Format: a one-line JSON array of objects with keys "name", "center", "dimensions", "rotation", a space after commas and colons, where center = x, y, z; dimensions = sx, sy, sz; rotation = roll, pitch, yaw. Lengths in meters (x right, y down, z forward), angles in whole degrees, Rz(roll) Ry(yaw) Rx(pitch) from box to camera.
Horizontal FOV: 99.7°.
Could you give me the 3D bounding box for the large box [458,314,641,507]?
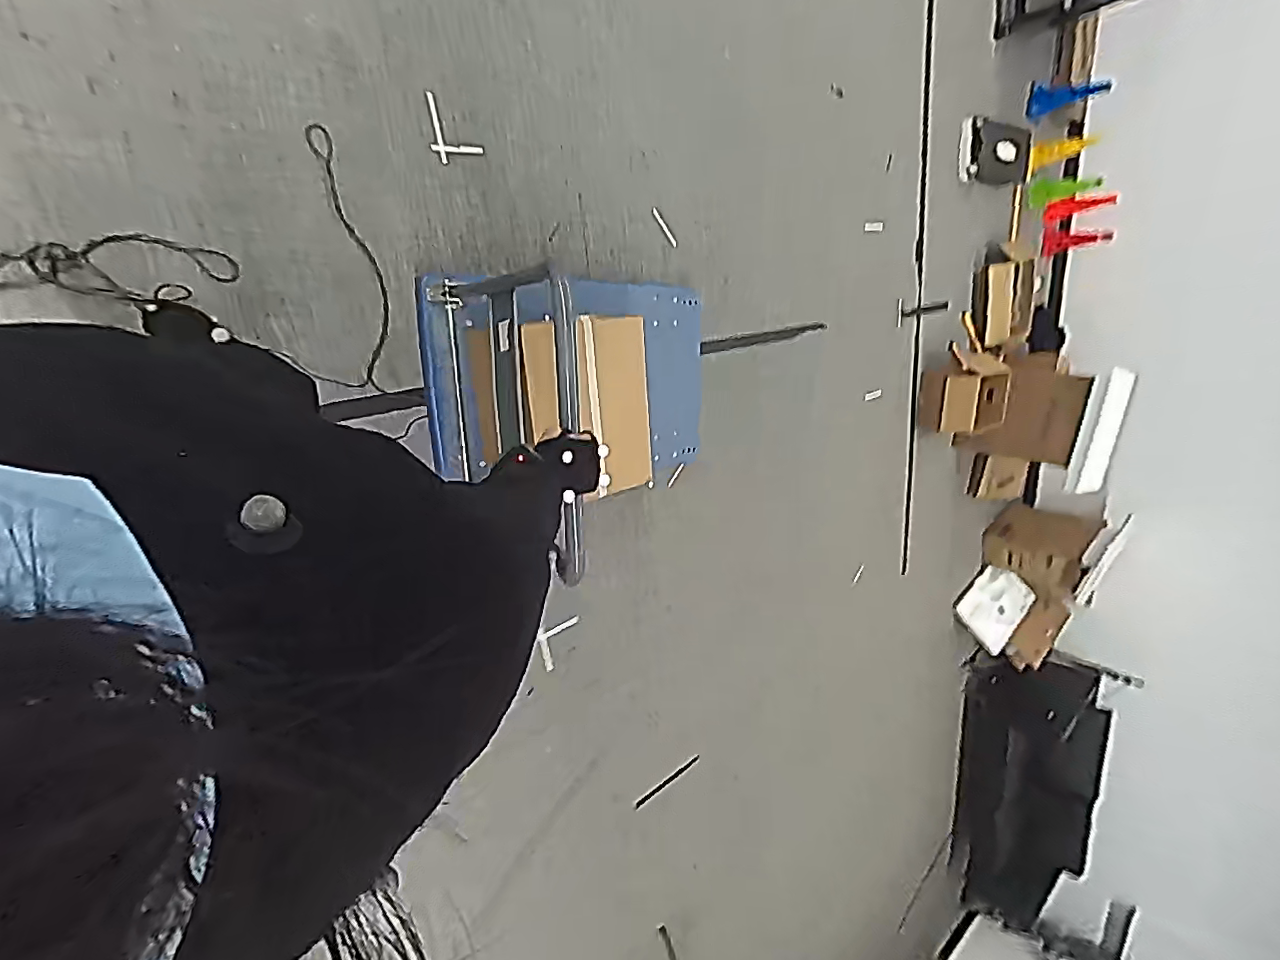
[{"name": "large box", "center": [-0.222, -0.192, 1.342], "dimensions": [0.320, 0.320, 0.408], "rotation": [-16, 112, -34]}]
